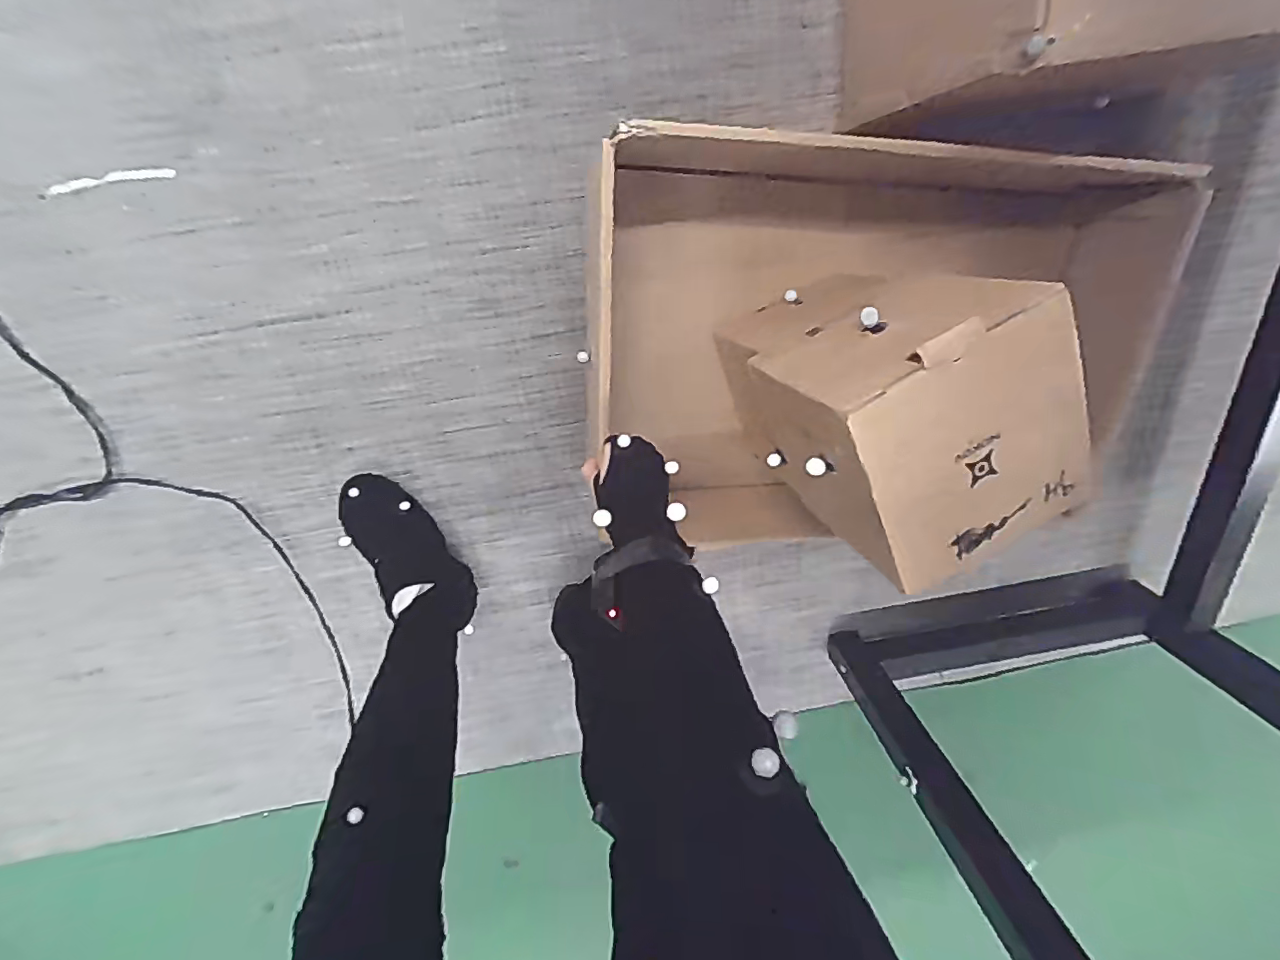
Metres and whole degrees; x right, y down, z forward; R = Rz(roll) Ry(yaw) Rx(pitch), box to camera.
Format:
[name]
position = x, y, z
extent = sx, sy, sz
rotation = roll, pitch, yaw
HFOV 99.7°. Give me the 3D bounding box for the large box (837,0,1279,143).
[large box]
position = 0.425, -0.516, 0.463
extent = 0.408, 0.320, 0.320
rotation = -10, 114, -1
